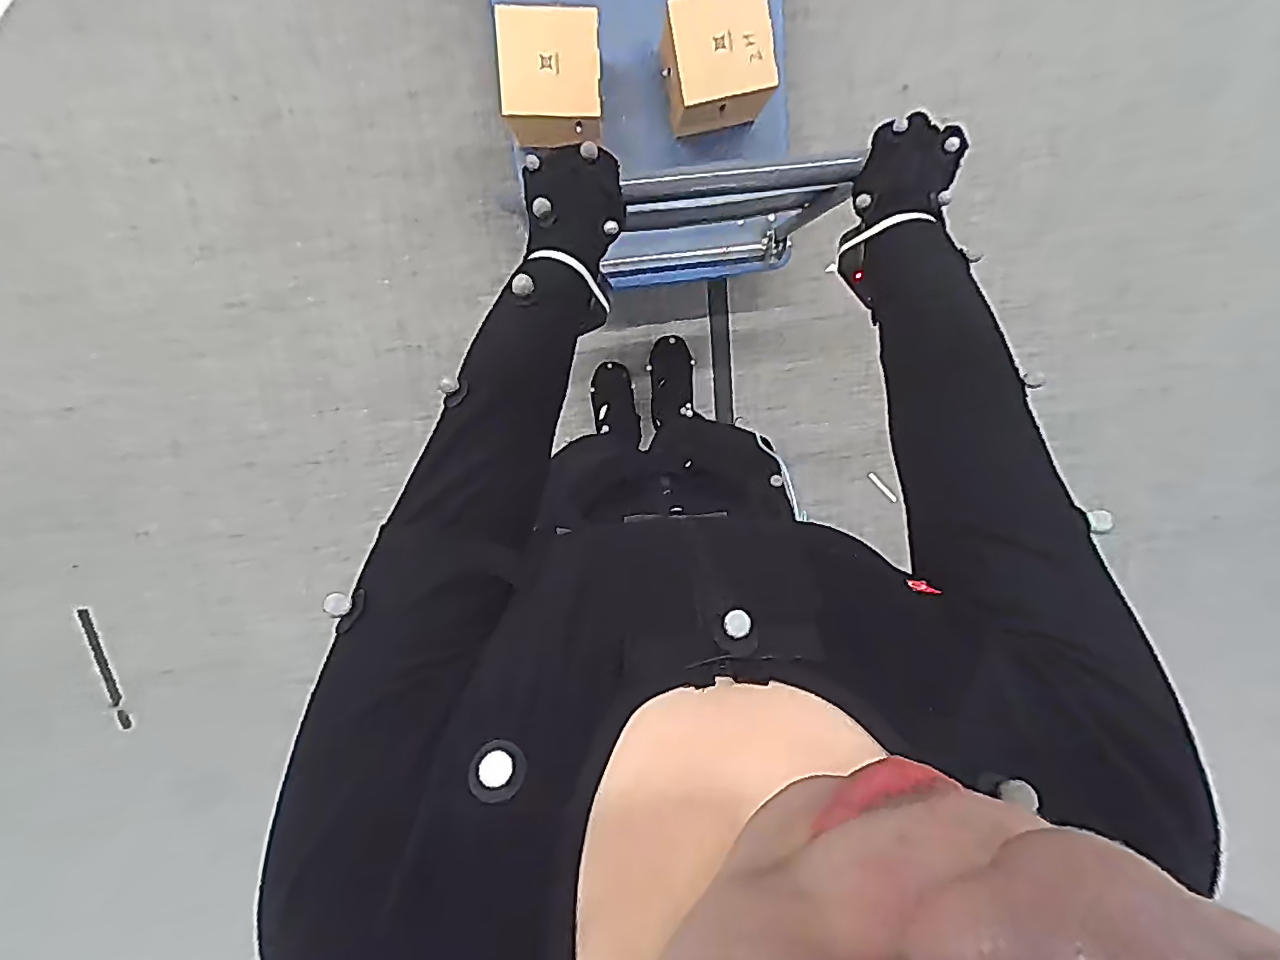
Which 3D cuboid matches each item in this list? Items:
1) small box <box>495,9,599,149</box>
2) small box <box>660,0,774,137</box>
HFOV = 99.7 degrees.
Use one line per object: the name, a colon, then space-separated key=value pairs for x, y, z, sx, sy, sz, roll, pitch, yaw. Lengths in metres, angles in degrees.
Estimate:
small box: x=-0.166 y=-0.742 z=1.019 sx=0.179 sy=0.176 sz=0.168 roll=-2 pitch=105 yaw=-5
small box: x=0.138 y=-0.782 z=1.027 sx=0.179 sy=0.176 sz=0.168 roll=-12 pitch=106 yaw=0
